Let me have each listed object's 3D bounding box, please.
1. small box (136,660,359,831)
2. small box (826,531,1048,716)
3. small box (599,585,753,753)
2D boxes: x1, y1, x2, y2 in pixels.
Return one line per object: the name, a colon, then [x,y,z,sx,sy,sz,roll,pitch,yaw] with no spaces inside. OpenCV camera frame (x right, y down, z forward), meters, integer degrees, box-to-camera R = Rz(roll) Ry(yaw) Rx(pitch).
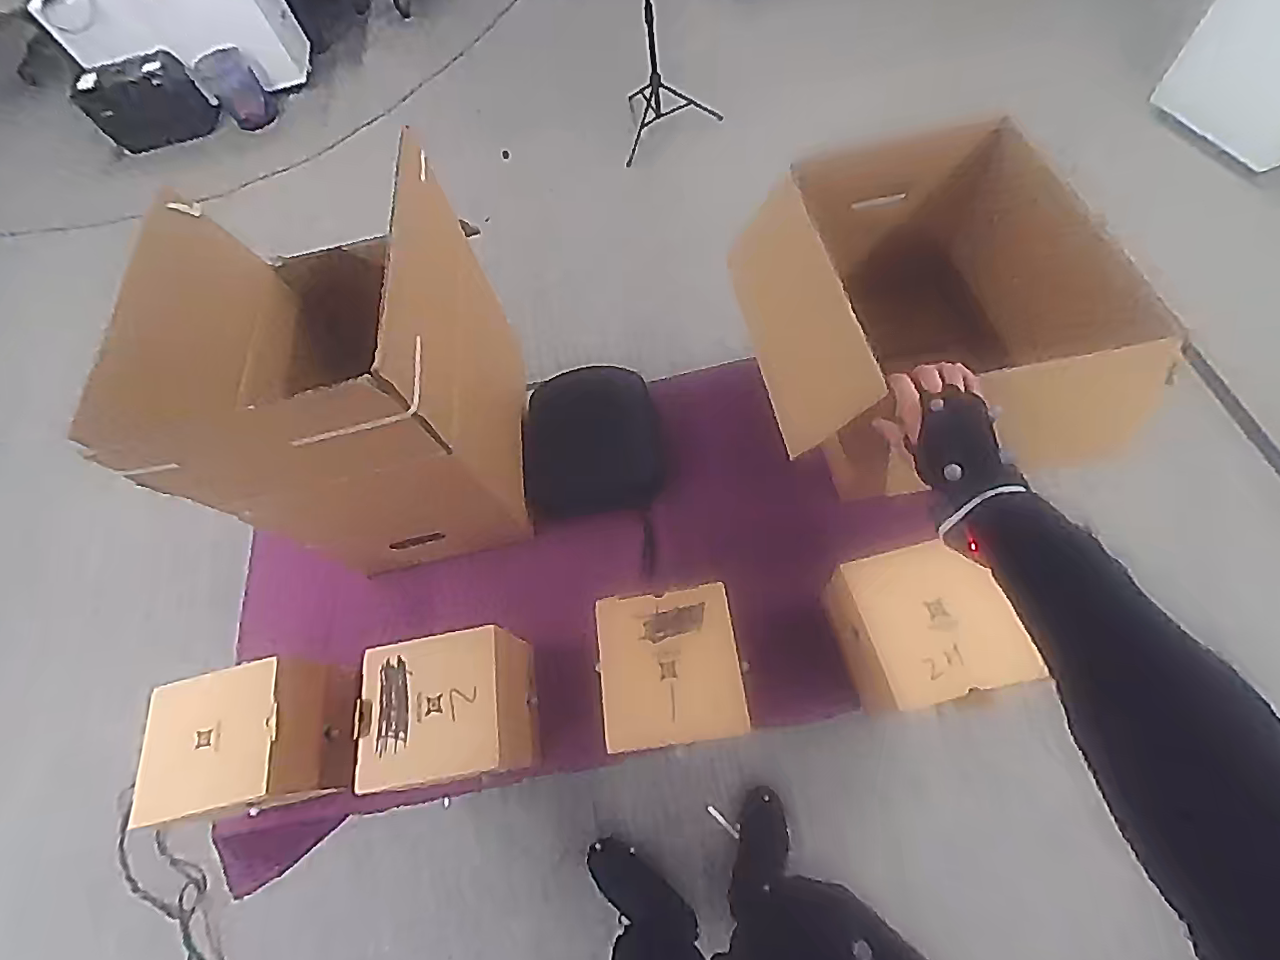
small box: [-0.522,0.364,0.747,0.179,0.176,0.168,-15,63,0]
small box: [0.353,0.190,0.690,0.168,0.176,0.179,-15,63,3]
small box: [0.047,0.253,0.710,0.168,0.176,0.179,-10,64,4]
